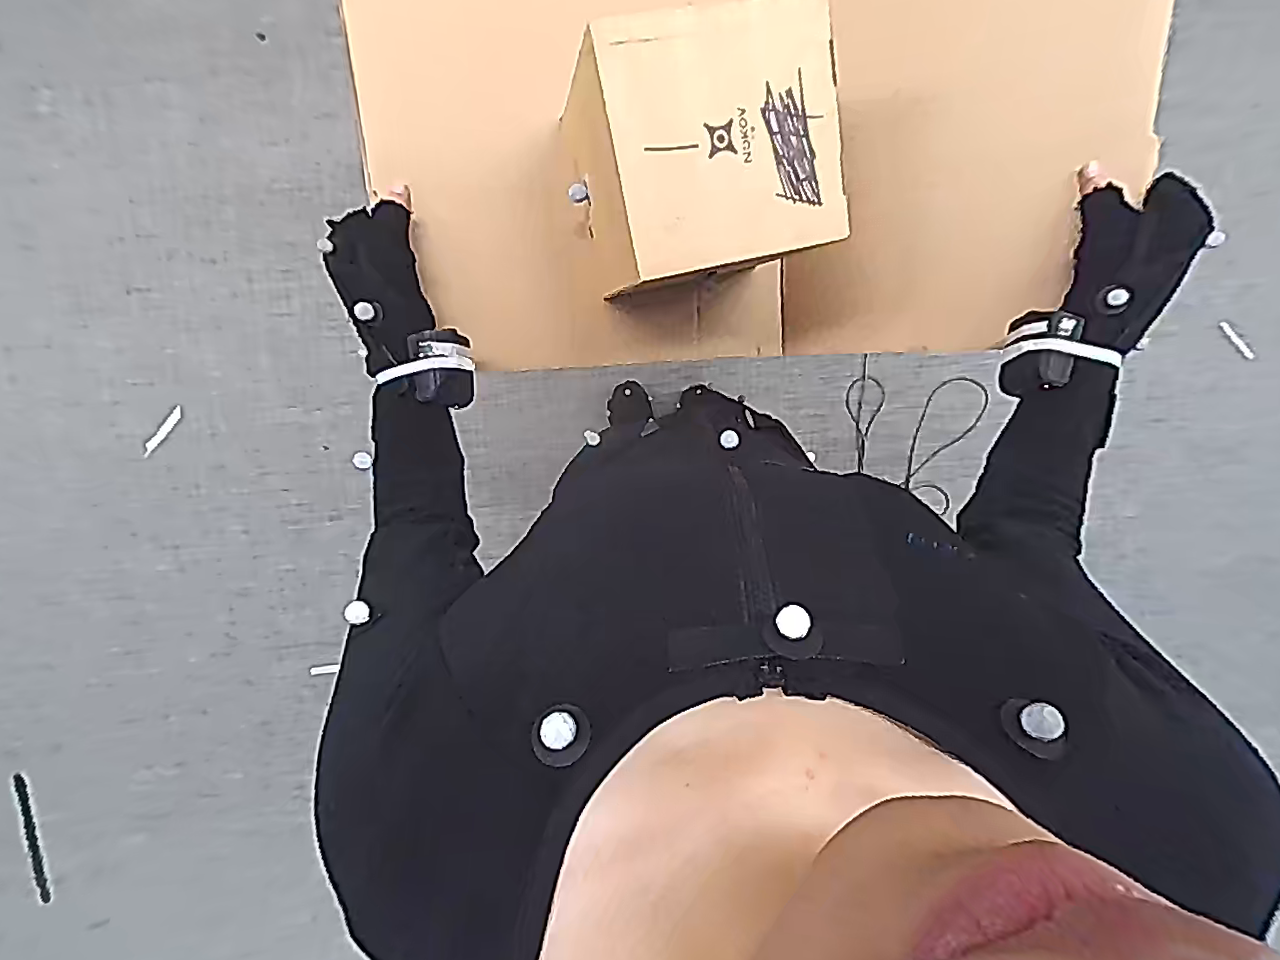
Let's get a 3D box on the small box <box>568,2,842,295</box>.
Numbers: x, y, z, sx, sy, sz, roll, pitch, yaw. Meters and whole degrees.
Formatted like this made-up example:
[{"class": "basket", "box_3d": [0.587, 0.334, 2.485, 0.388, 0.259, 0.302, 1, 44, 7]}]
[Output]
[{"class": "small box", "box_3d": [0.047, -0.266, 0.472, 0.179, 0.176, 0.168, -15, 107, -9]}]
